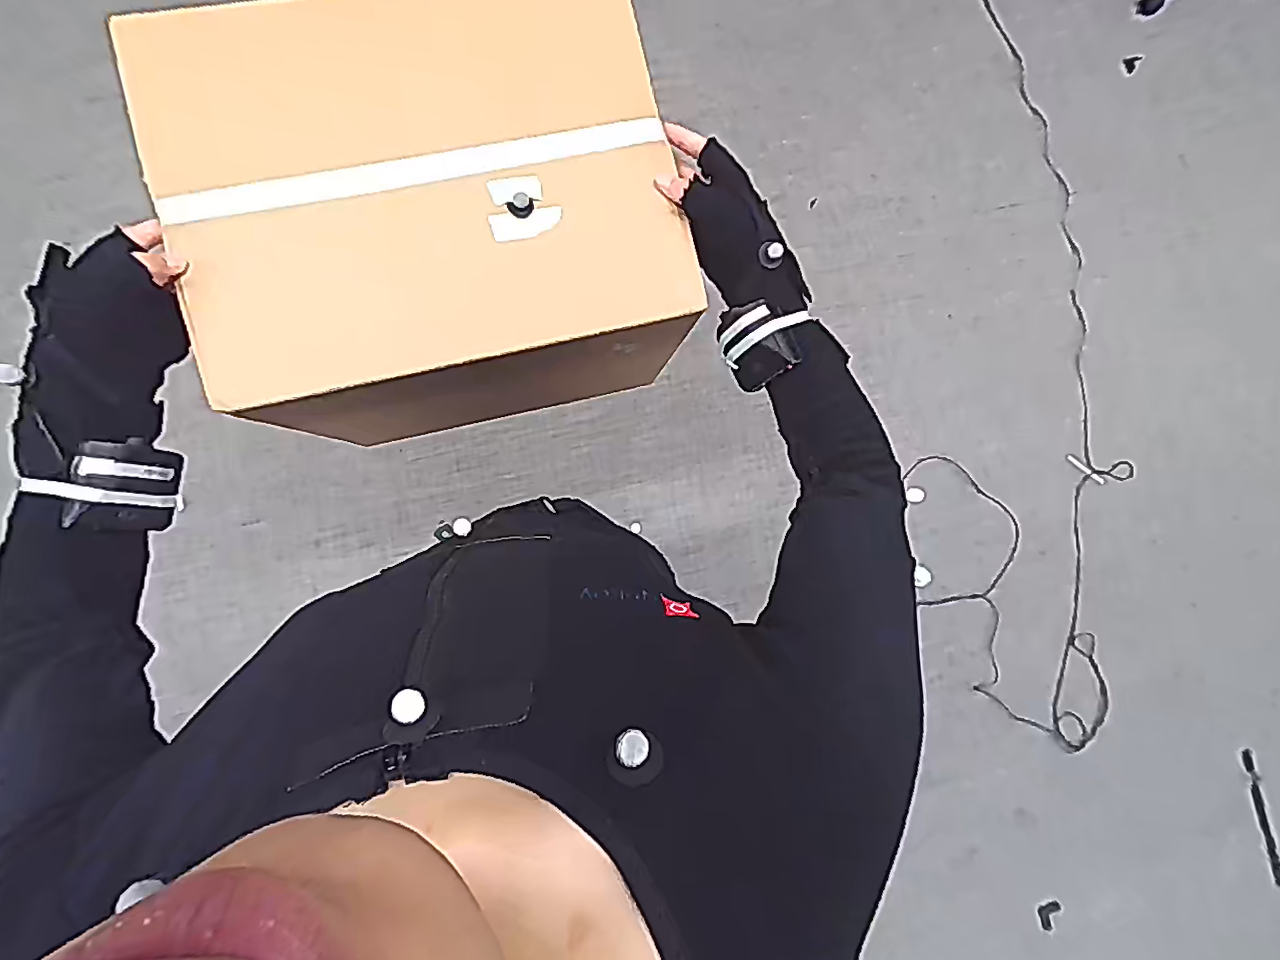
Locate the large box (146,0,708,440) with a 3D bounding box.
[{"bbox_3d":[-0.186,-0.254,0.600,0.408,0.320,0.320,-15,91,-8],"label":"large box"}]
